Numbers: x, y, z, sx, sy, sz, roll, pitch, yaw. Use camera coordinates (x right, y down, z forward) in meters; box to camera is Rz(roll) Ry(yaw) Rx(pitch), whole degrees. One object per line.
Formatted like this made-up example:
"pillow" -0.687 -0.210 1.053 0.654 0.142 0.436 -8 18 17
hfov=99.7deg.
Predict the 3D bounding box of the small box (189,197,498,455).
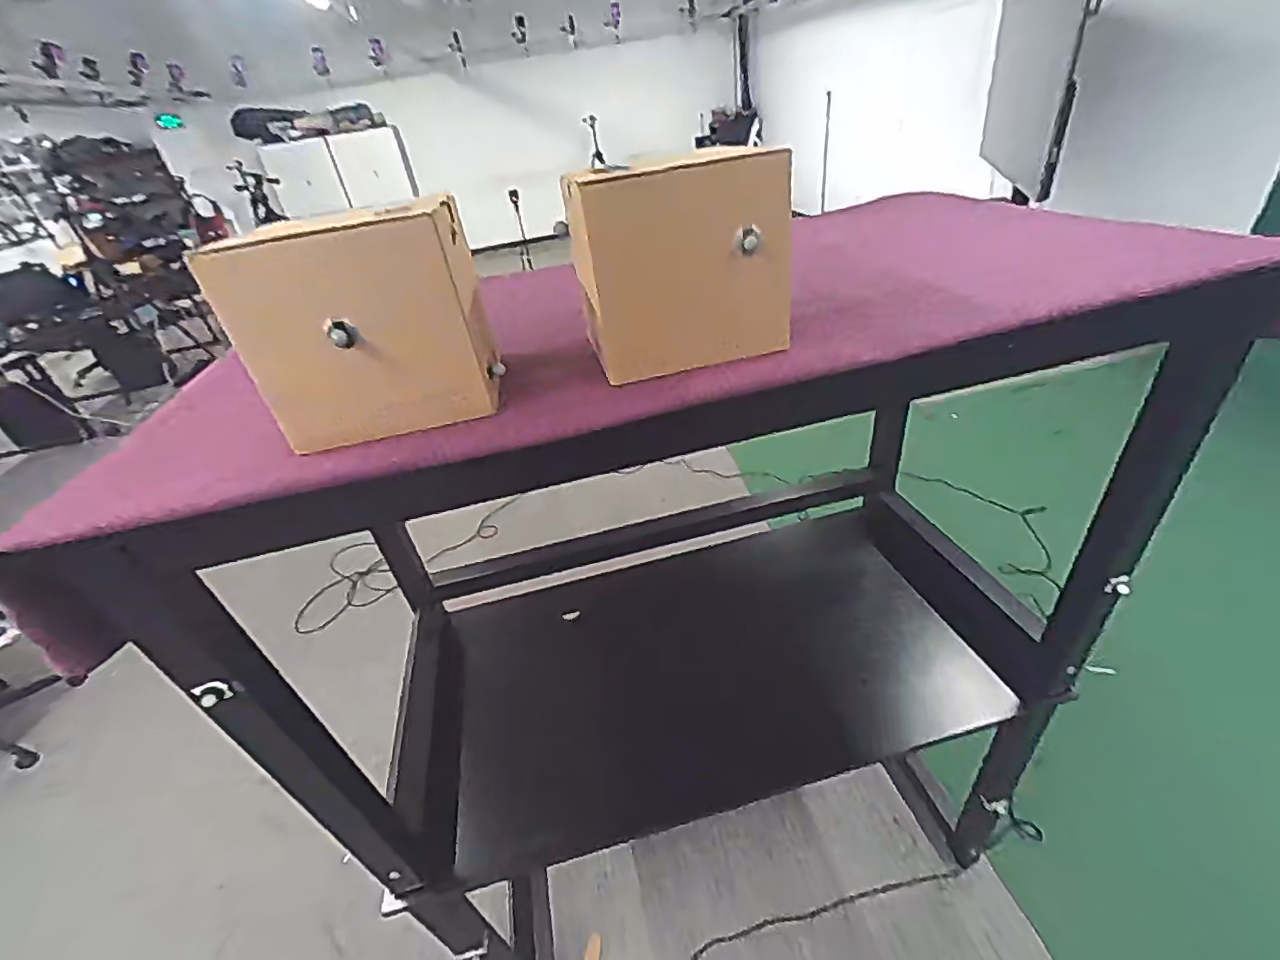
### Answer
"small box" -0.236 -0.144 0.494 0.179 0.176 0.168 -13 33 -5
